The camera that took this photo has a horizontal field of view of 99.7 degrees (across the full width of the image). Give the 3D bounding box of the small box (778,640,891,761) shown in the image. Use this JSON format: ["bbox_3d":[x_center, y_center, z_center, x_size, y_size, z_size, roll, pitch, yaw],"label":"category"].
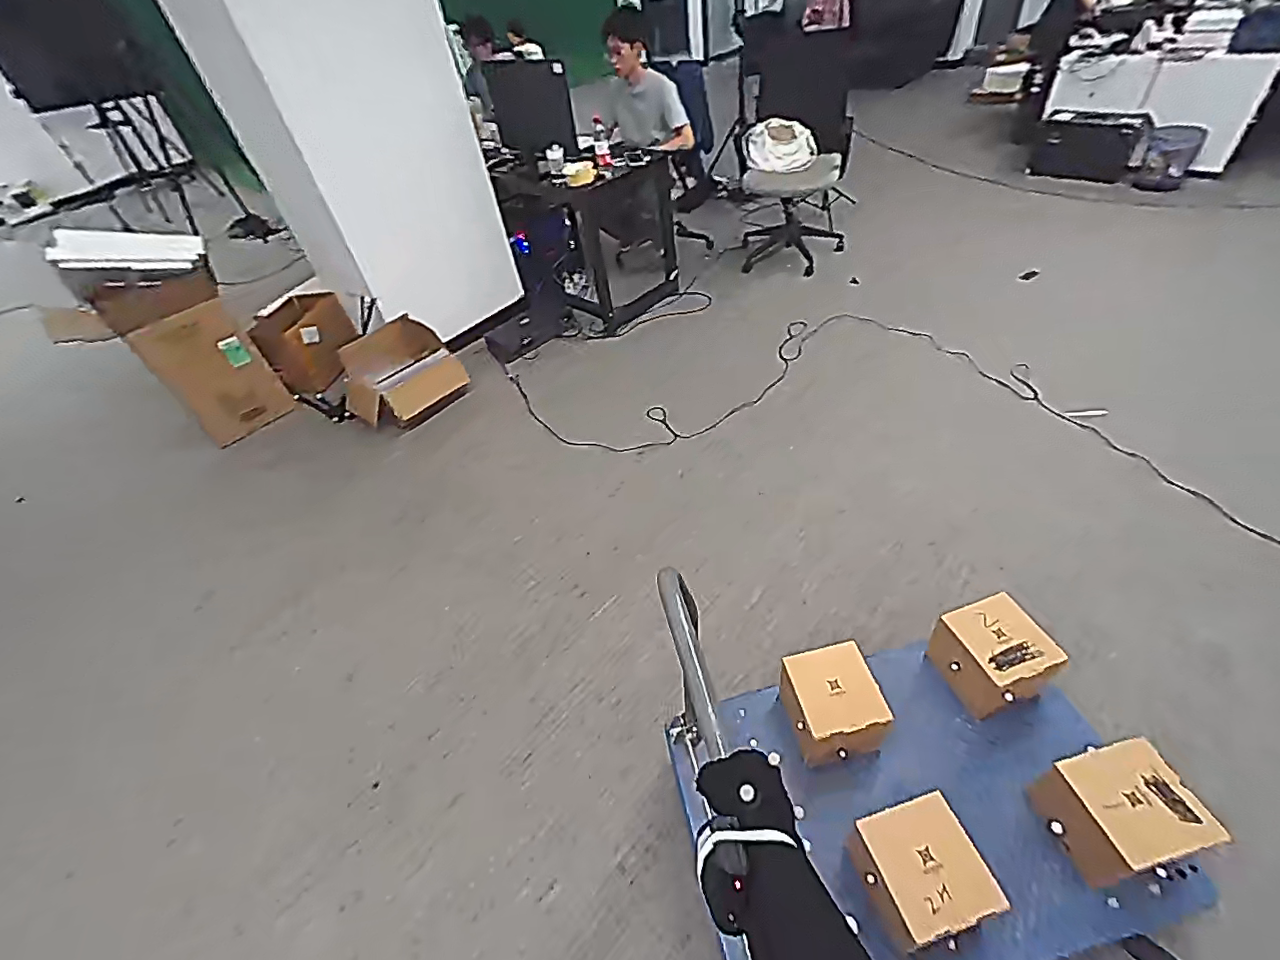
[{"bbox_3d":[0.409,0.480,1.173,0.168,0.176,0.179,-12,46,-2],"label":"small box"}]

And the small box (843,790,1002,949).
[{"bbox_3d":[0.480,0.686,0.953,0.168,0.176,0.179,-16,45,-5],"label":"small box"}]

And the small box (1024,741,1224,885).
[{"bbox_3d":[0.846,0.598,0.970,0.179,0.176,0.168,-15,45,-2],"label":"small box"}]
